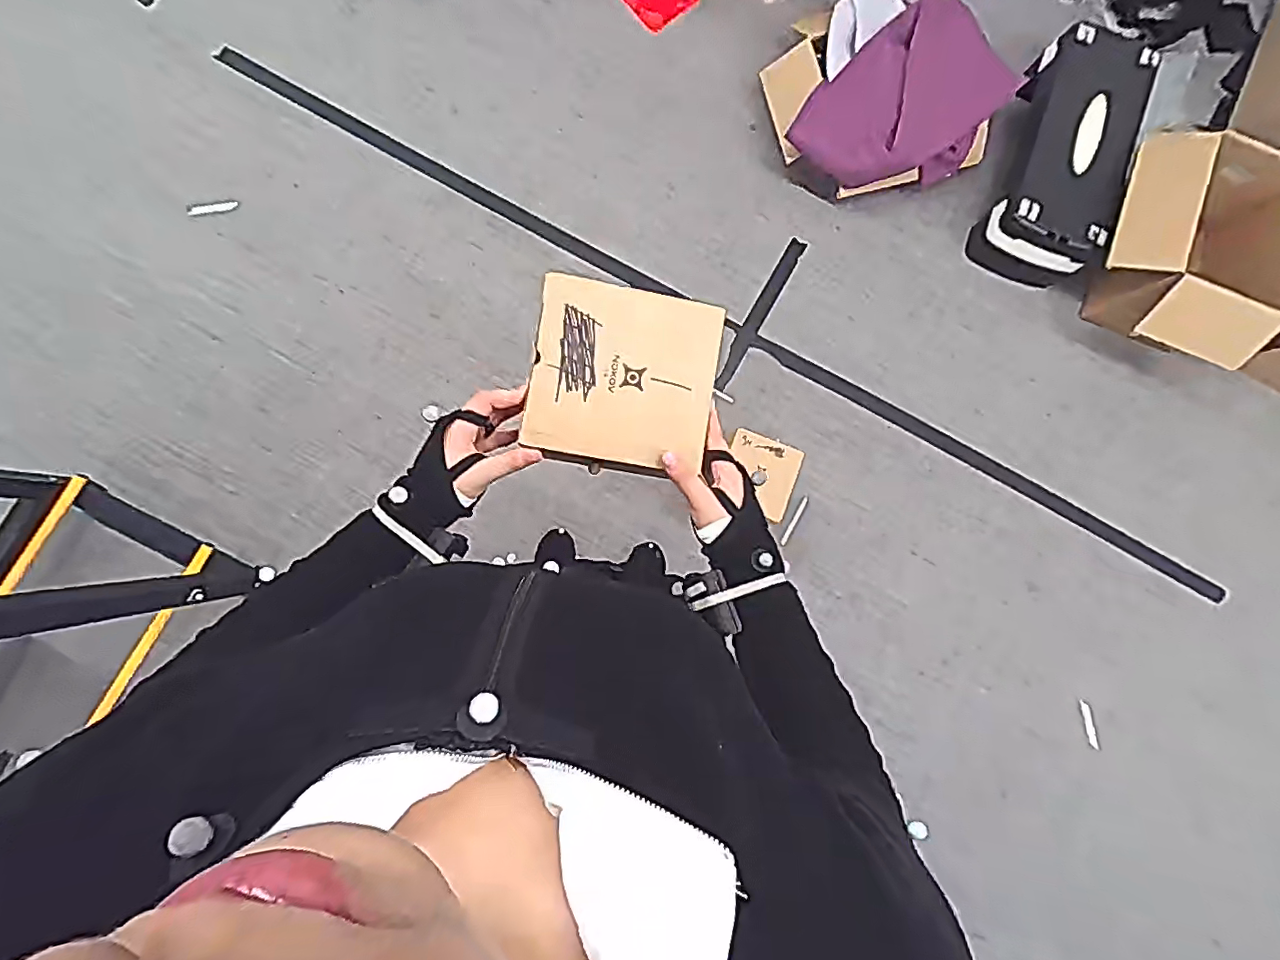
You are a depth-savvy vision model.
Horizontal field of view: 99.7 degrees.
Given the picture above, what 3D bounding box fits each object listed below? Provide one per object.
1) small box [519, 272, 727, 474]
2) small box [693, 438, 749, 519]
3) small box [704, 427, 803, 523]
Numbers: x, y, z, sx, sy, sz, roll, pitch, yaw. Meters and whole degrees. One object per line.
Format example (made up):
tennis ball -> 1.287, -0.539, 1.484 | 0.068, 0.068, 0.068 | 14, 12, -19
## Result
small box -> -0.023, -0.100, 0.587 | 0.179, 0.176, 0.168 | 9, 89, -7
small box -> 0.260, 0.001, 1.464 | 0.179, 0.176, 0.168 | 23, 84, -1
small box -> 0.262, -0.007, 1.301 | 0.168, 0.176, 0.179 | 22, 85, -1
